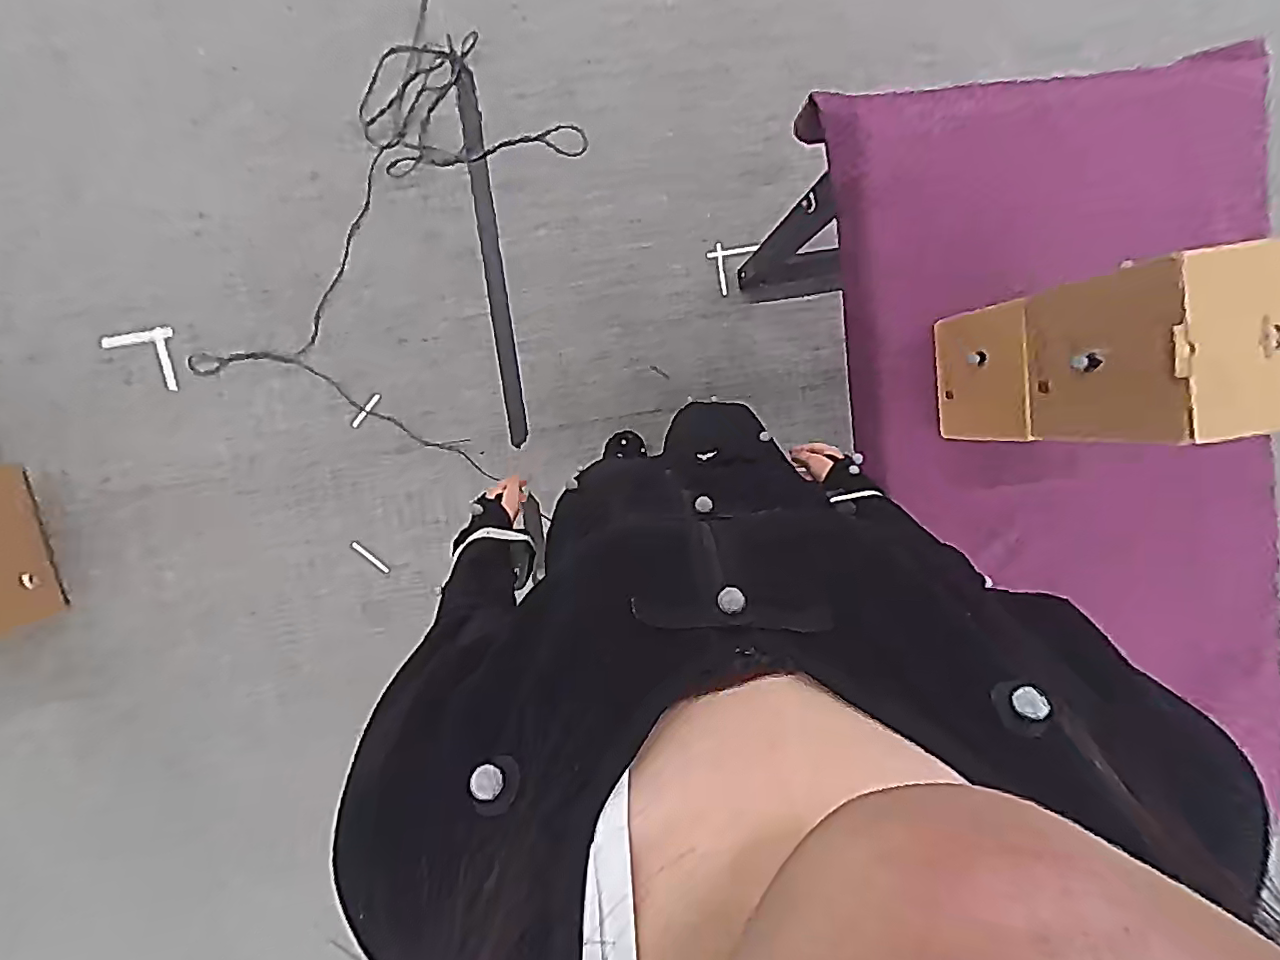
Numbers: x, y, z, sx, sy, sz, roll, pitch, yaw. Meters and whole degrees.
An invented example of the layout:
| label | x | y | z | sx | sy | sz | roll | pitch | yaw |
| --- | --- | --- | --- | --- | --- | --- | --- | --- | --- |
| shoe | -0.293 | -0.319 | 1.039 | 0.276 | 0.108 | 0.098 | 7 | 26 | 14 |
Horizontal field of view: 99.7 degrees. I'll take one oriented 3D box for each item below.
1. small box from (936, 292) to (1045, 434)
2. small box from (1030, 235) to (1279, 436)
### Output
| label | x | y | z | sx | sy | sz | roll | pitch | yaw |
| --- | --- | --- | --- | --- | --- | --- | --- | --- | --- |
| small box | 0.519 | -0.150 | 0.717 | 0.179 | 0.176 | 0.168 | -8 | 97 | -5 |
| small box | 0.538 | -0.137 | 0.554 | 0.179 | 0.176 | 0.168 | -9 | 97 | -4 |
